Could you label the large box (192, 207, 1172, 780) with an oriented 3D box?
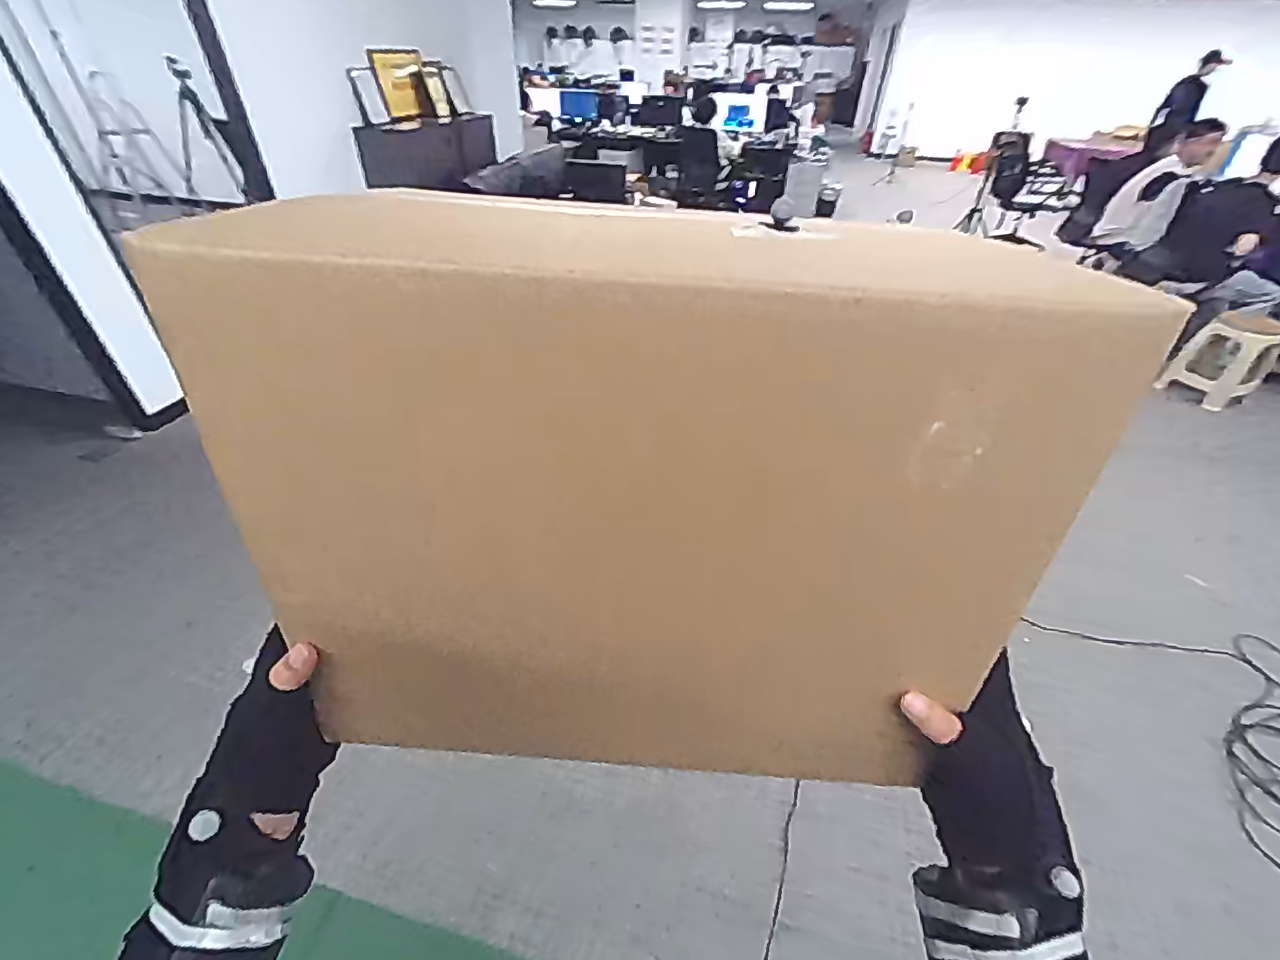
[{"bbox_3d":[0.010,-0.014,0.415,0.408,0.320,0.320,5,31,0],"label":"large box"}]
